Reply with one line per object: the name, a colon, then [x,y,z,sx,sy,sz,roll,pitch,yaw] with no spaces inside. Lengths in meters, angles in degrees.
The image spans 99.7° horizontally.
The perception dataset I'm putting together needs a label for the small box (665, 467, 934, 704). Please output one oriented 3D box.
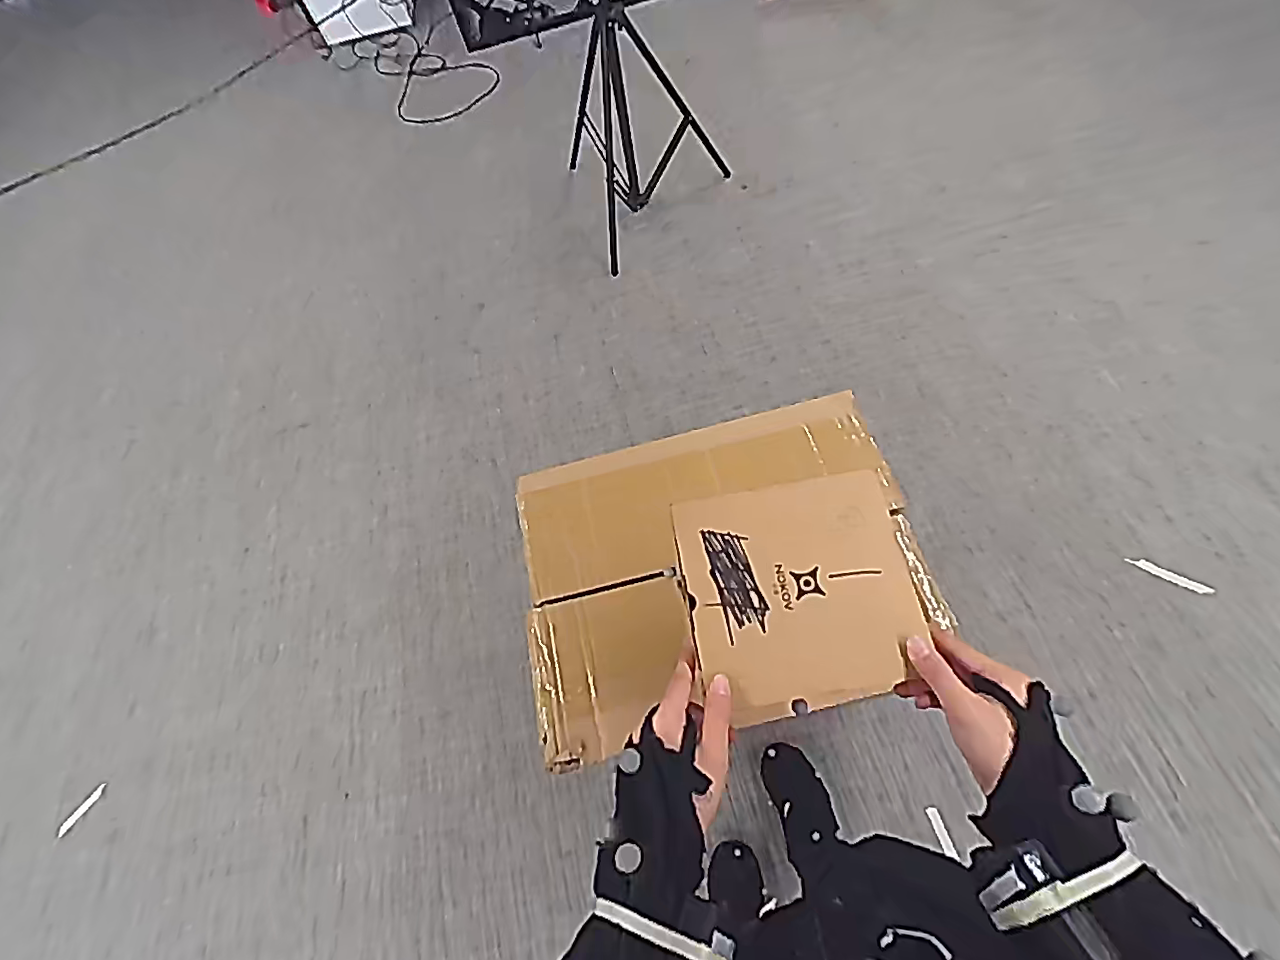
small box: [0.125,0.106,0.498,0.179,0.176,0.168,-10,70,1]
